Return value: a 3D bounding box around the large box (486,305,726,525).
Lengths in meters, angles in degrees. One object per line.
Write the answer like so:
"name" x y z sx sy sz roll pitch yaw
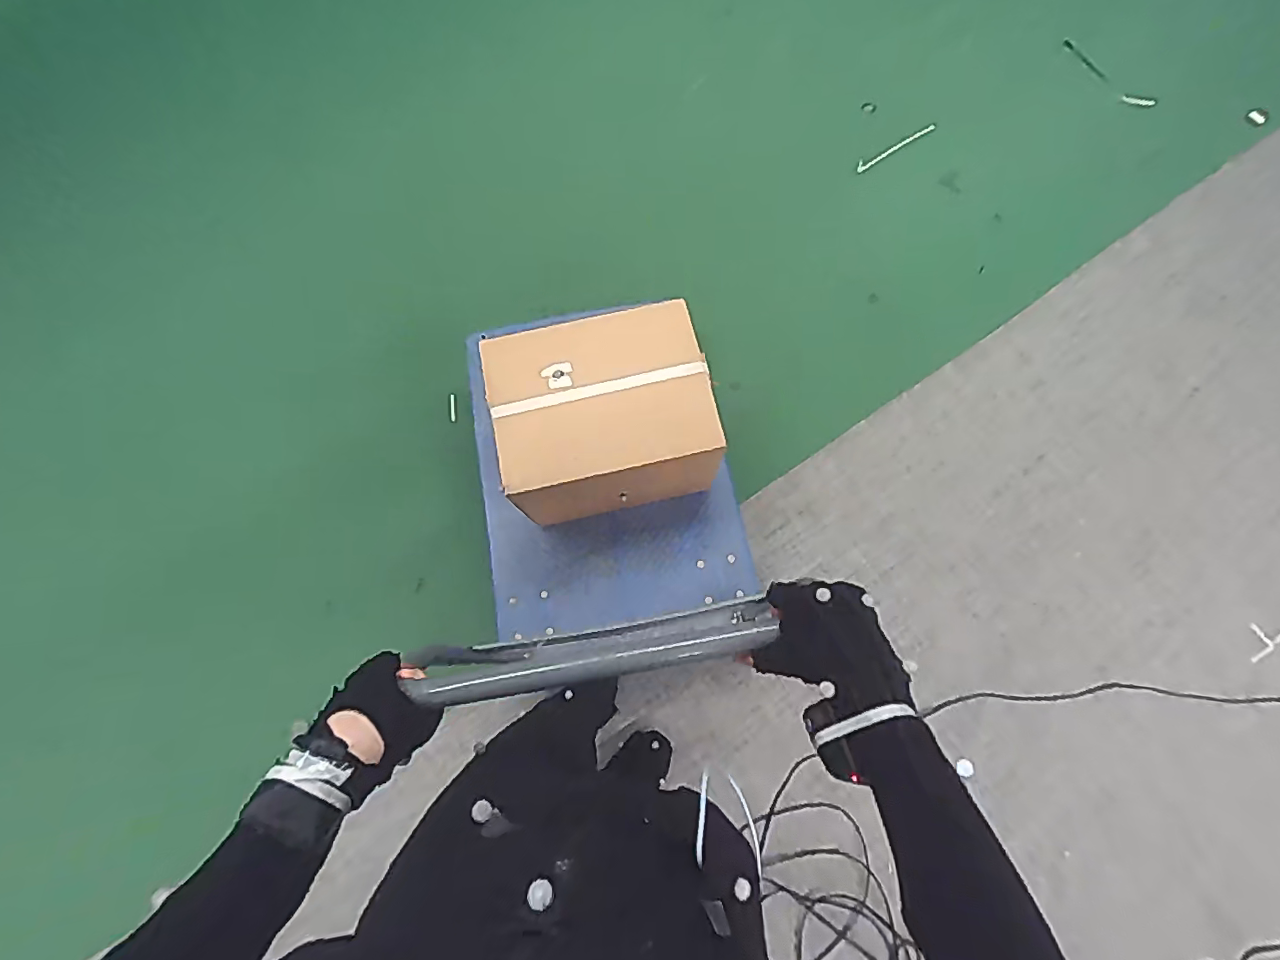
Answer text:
"large box" -0.065 -0.116 1.152 0.408 0.320 0.320 -13 75 -2
